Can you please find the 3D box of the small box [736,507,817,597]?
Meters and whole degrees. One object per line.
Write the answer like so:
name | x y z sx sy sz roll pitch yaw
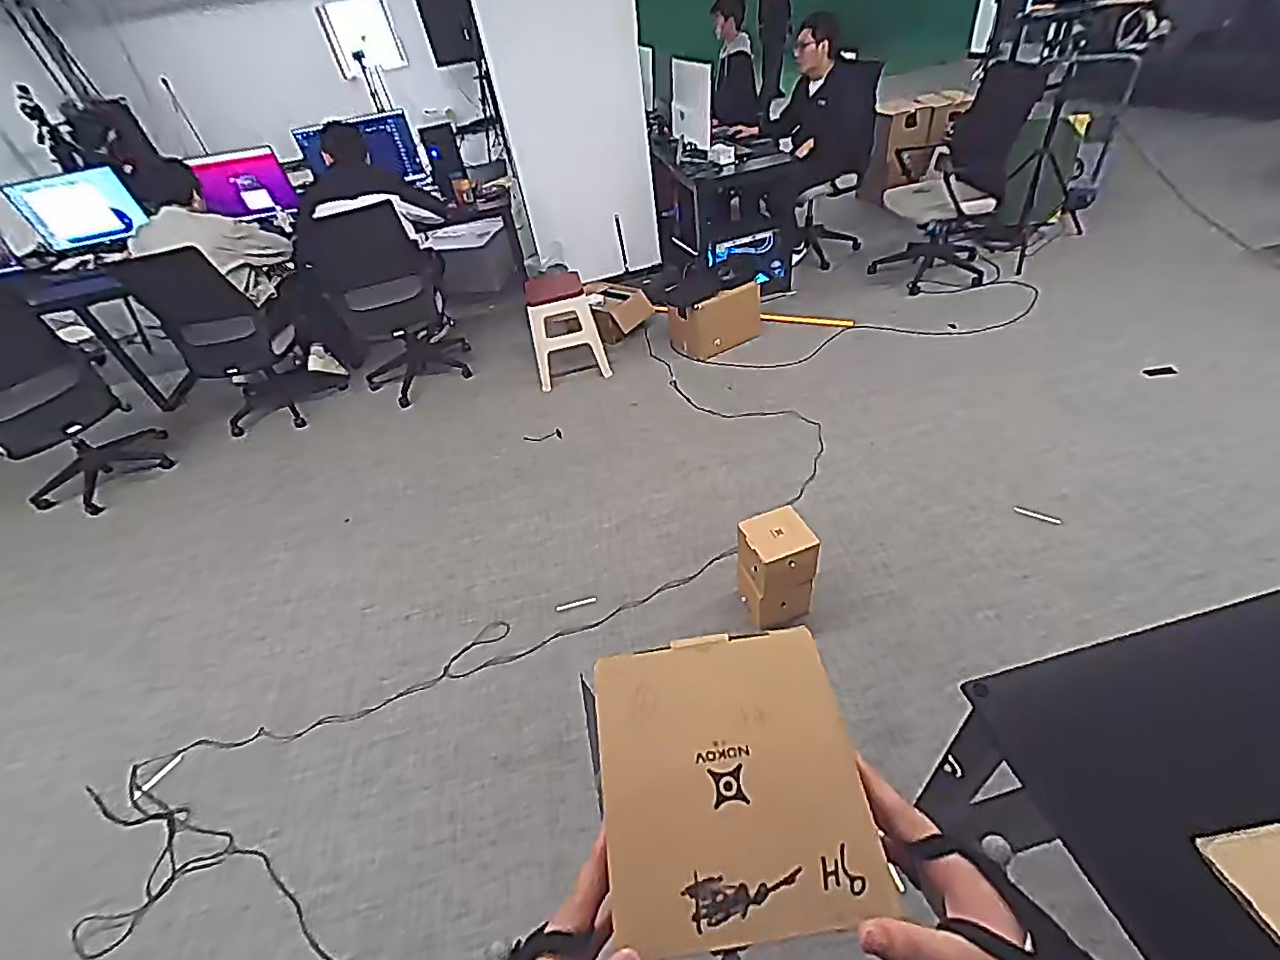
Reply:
small box | 0.397 0.215 1.591 0.179 0.176 0.168 -18 43 -10

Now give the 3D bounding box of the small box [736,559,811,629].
small box | 0.414 0.337 1.697 0.179 0.176 0.168 -17 42 -7

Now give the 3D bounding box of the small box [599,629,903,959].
small box | 0.064 0.239 0.416 0.168 0.176 0.179 -9 53 -1
